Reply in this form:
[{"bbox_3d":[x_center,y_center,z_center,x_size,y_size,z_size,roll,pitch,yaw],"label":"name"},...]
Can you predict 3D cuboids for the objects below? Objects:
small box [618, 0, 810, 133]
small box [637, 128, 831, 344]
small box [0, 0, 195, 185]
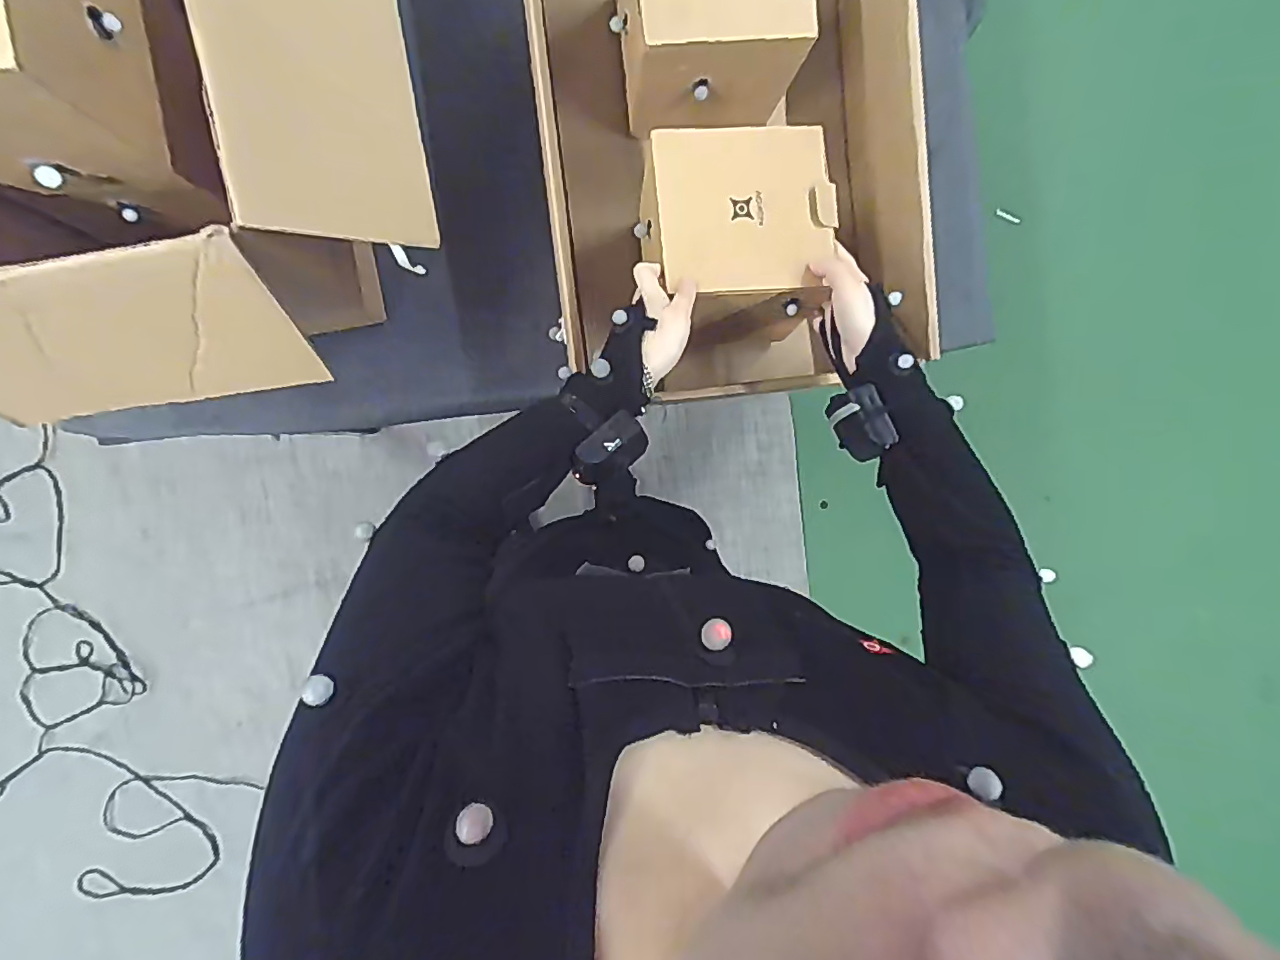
[{"bbox_3d":[0.069,-0.510,0.596,0.179,0.176,0.168,-7,98,-4],"label":"small box"},{"bbox_3d":[0.091,-0.260,0.610,0.179,0.176,0.168,-5,87,-6],"label":"small box"},{"bbox_3d":[-0.491,-0.352,0.412,0.168,0.176,0.179,-5,97,-6],"label":"small box"}]
